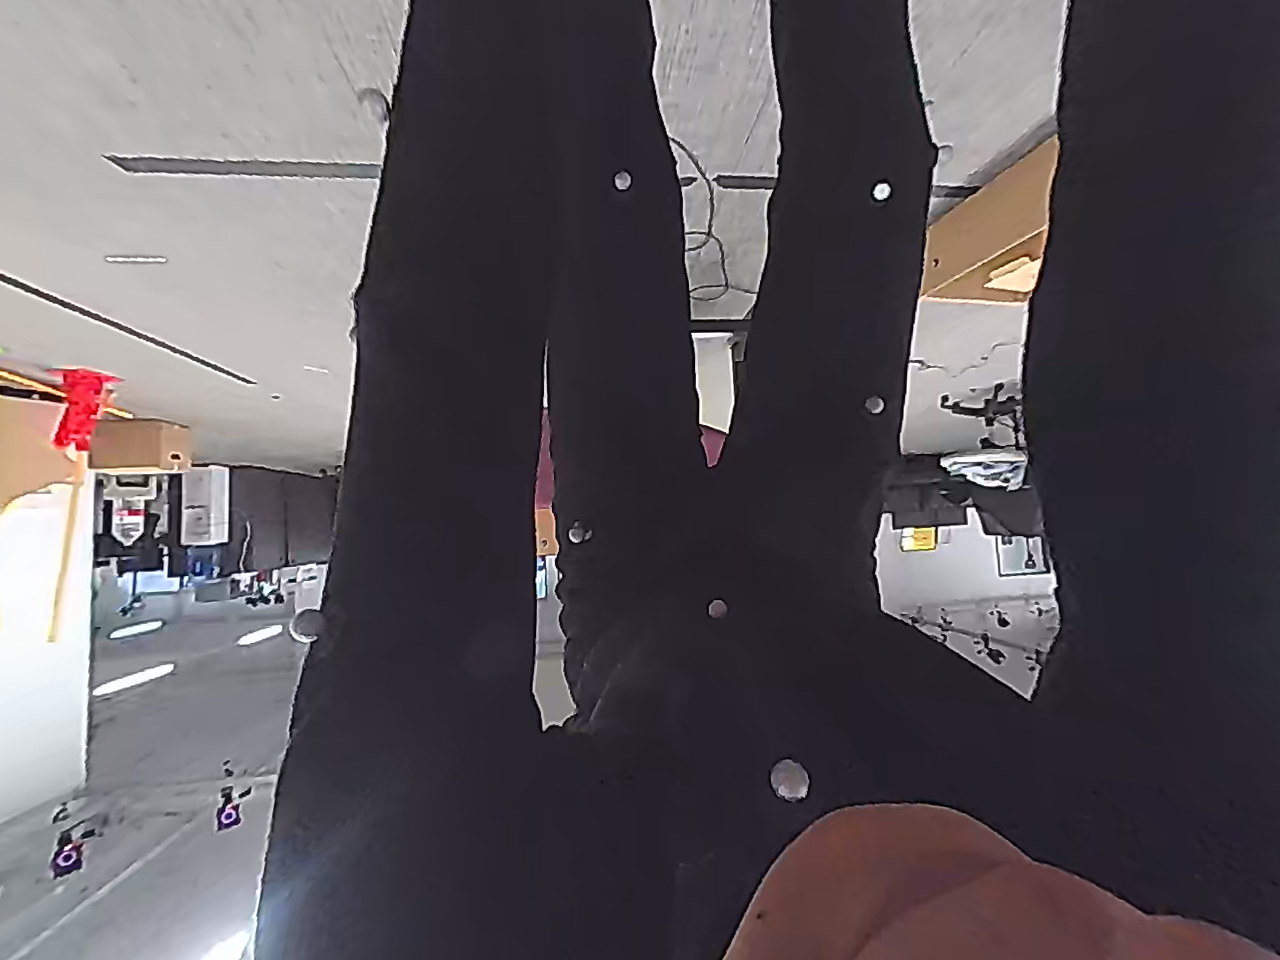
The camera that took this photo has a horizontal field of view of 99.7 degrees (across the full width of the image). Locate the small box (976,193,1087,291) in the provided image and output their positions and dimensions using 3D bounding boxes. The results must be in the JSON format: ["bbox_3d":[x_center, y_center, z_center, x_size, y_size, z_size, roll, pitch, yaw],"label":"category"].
[{"bbox_3d":[1.007,-0.614,1.403,0.179,0.176,0.168,-1,175,-21],"label":"small box"}]

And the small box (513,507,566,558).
[{"bbox_3d":[-0.359,0.183,1.945,0.179,0.176,0.168,-2,176,-8],"label":"small box"}]
